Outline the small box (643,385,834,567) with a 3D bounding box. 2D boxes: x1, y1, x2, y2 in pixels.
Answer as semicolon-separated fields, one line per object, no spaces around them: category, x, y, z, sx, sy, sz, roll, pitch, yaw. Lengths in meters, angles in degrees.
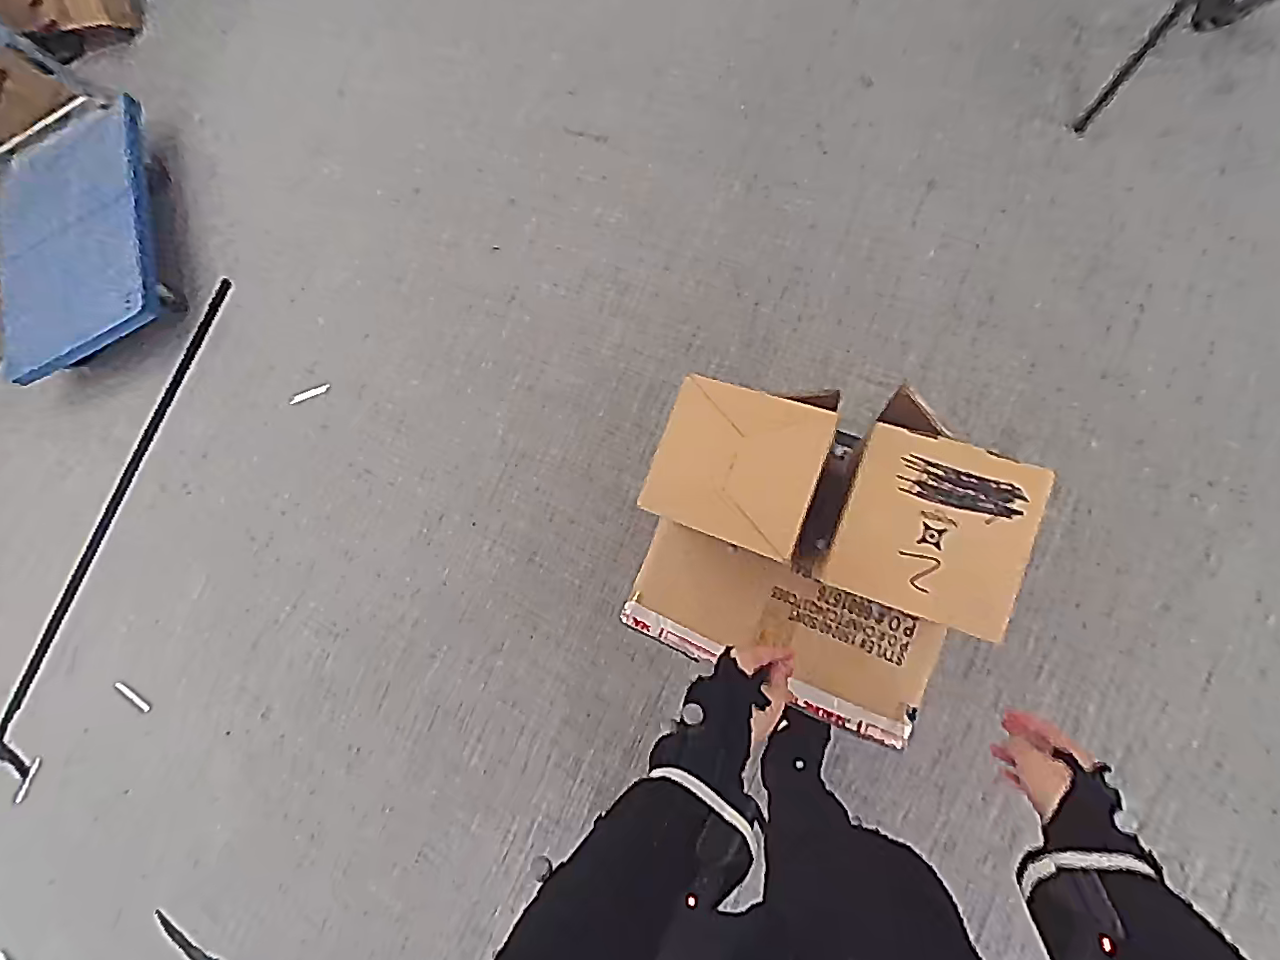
small box;0.127;0.002;0.665;0.179;0.176;0.168;20;87;20
